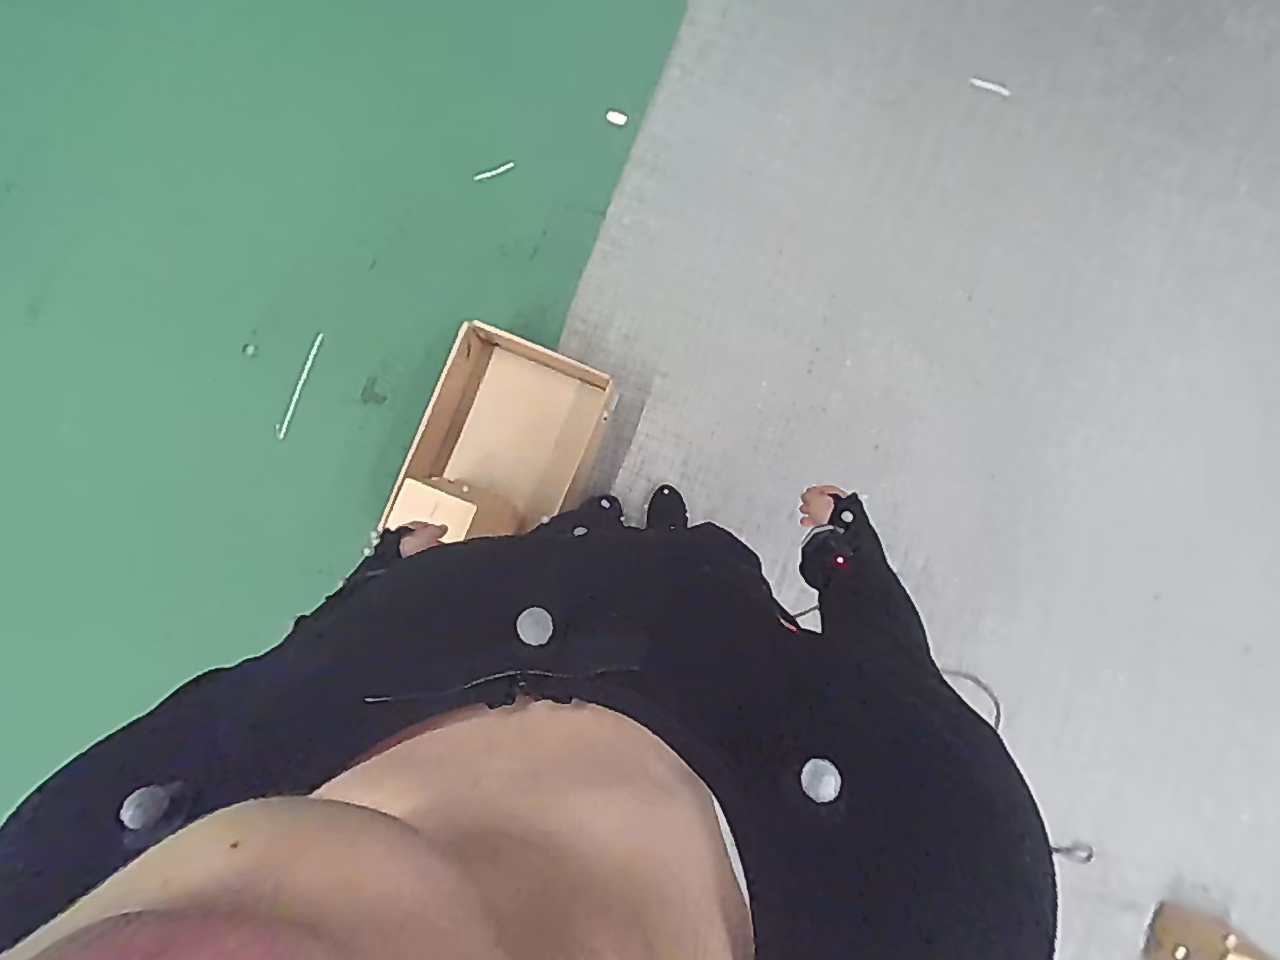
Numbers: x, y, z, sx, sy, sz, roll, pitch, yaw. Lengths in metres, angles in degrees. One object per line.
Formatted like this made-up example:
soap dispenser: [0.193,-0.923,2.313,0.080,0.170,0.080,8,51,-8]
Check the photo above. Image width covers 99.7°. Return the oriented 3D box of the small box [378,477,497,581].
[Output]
small box: [-0.441,0.105,1.208,0.168,0.176,0.179,22,88,1]

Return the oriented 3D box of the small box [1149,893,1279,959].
small box: [1.434,1.180,1.342,0.179,0.176,0.168,17,90,2]

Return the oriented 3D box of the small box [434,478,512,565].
small box: [-0.445,0.100,1.373,0.179,0.176,0.168,21,89,1]
